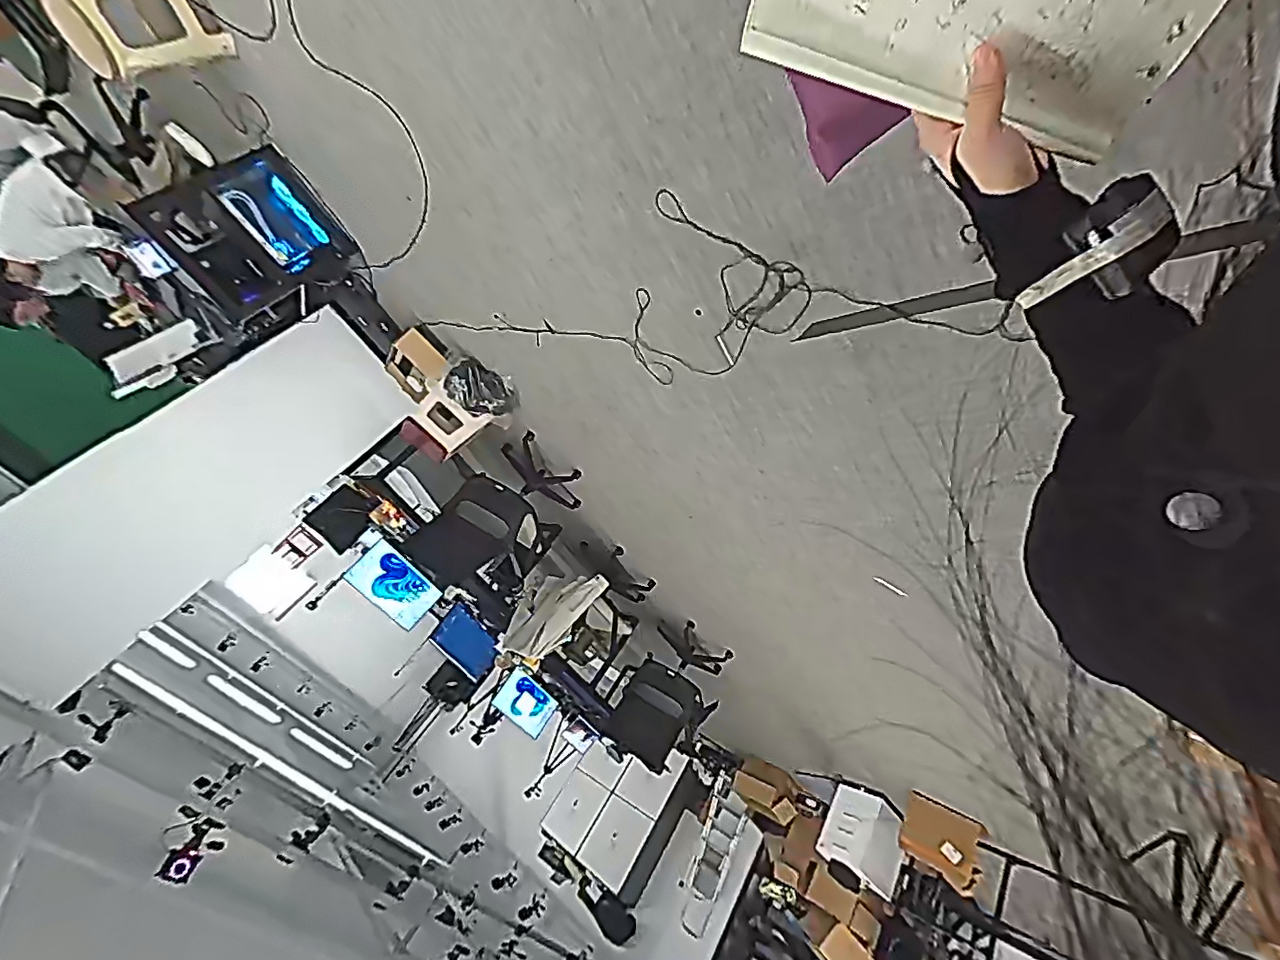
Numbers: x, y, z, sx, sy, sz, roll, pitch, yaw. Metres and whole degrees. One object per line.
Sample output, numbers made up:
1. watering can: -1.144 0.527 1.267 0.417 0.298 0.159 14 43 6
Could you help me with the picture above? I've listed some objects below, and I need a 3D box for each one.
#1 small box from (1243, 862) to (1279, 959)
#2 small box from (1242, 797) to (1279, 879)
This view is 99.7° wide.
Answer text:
1. small box: 1.551 1.048 1.268 0.168 0.176 0.179 5 138 44
2. small box: 1.631 0.924 1.342 0.179 0.176 0.168 2 136 45
